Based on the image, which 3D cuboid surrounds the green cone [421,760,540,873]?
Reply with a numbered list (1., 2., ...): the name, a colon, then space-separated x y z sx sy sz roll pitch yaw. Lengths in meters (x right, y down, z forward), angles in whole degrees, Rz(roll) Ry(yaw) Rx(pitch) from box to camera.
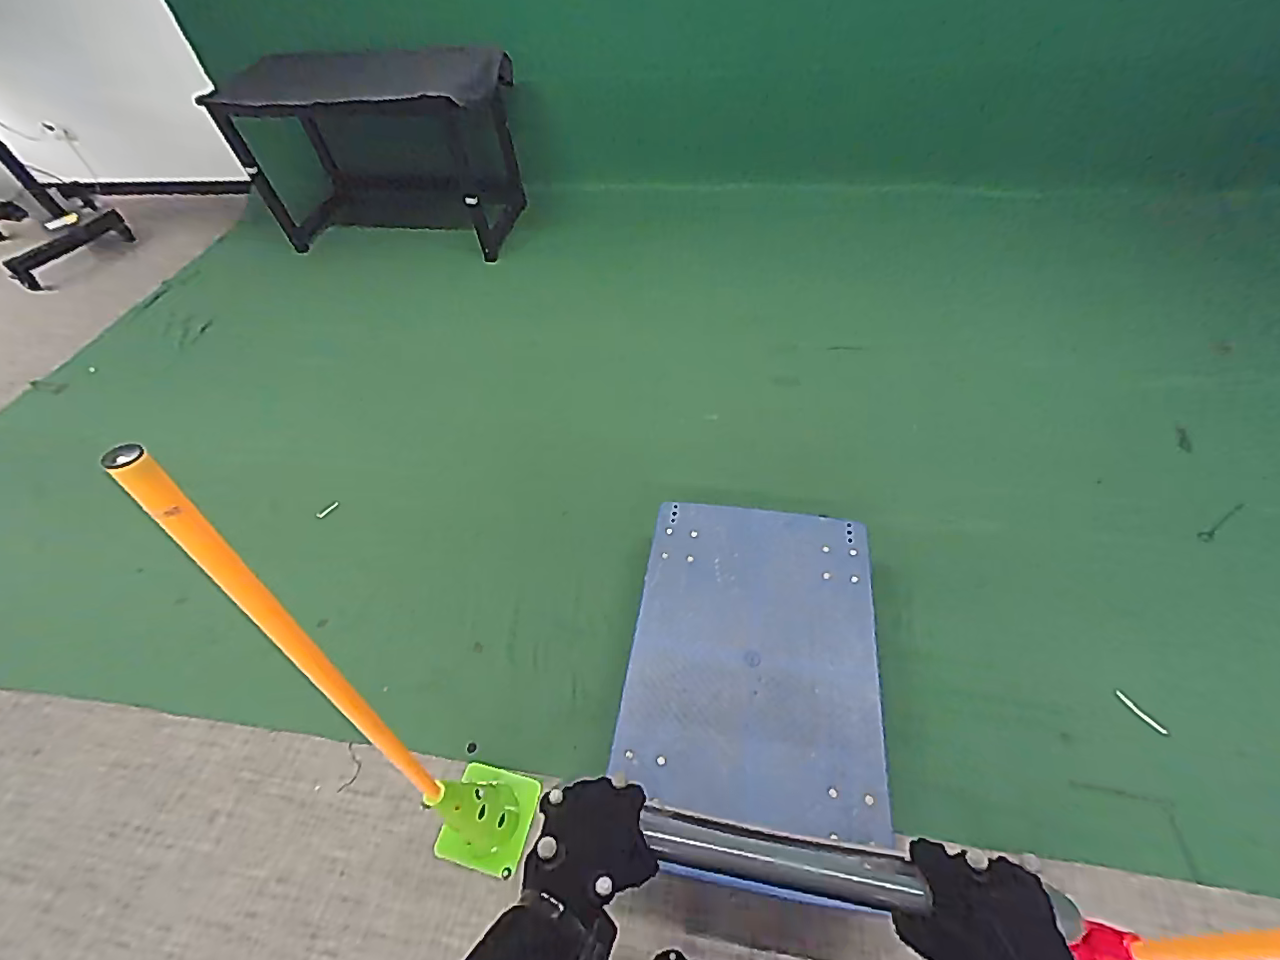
1. green cone: -0.369 0.678 1.143 0.202 0.368 0.200 8 52 12
